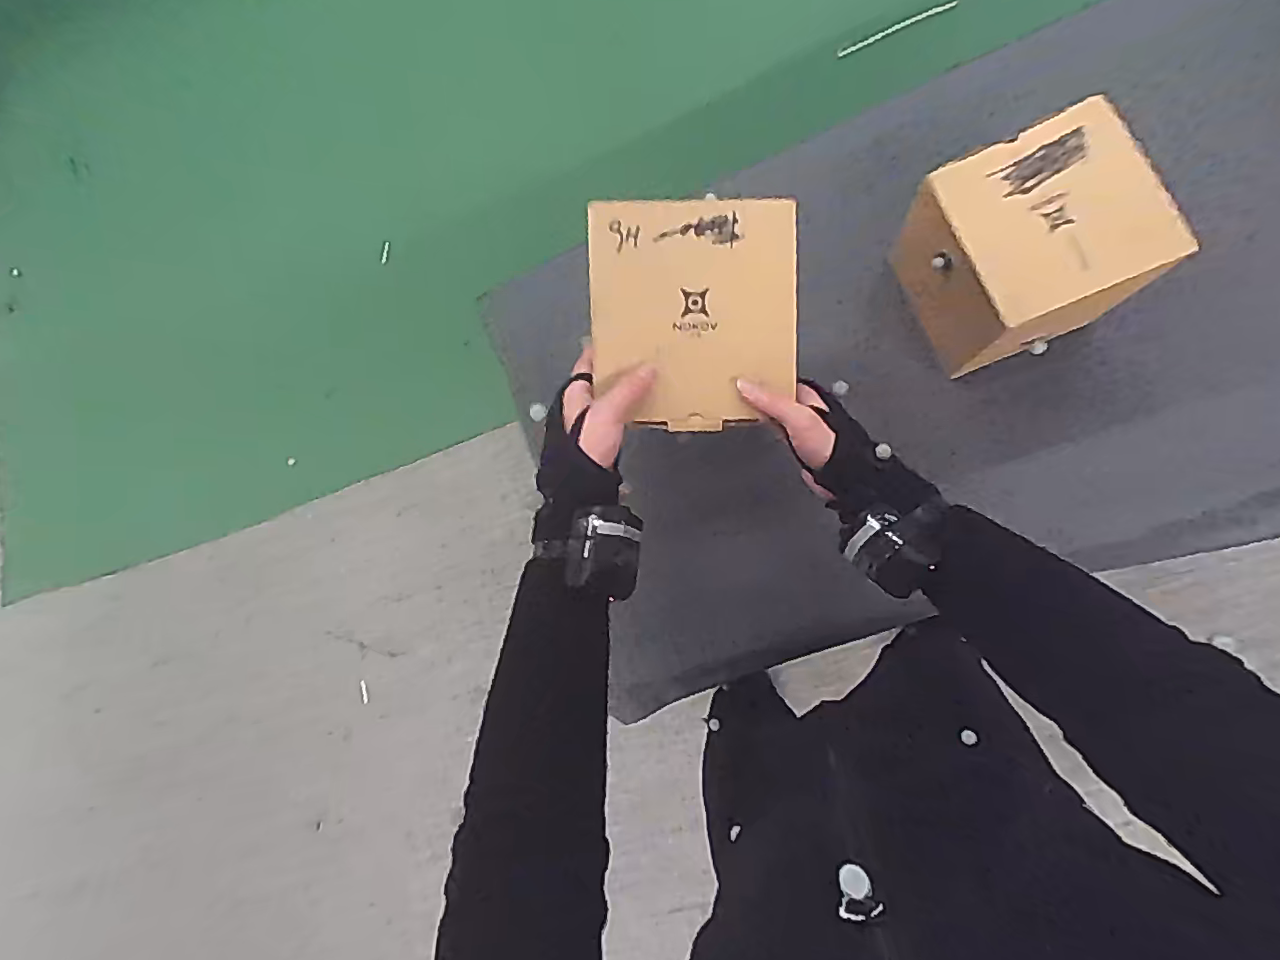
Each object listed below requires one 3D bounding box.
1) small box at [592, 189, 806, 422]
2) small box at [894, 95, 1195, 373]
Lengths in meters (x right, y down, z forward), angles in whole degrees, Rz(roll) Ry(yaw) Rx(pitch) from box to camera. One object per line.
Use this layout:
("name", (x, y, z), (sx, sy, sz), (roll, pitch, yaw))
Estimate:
("small box", (0.045, -0.145, 0.501), (0.168, 0.176, 0.179), (-1, 97, -1))
("small box", (0.398, -0.241, 0.575), (0.168, 0.176, 0.179), (-23, 80, 10))
